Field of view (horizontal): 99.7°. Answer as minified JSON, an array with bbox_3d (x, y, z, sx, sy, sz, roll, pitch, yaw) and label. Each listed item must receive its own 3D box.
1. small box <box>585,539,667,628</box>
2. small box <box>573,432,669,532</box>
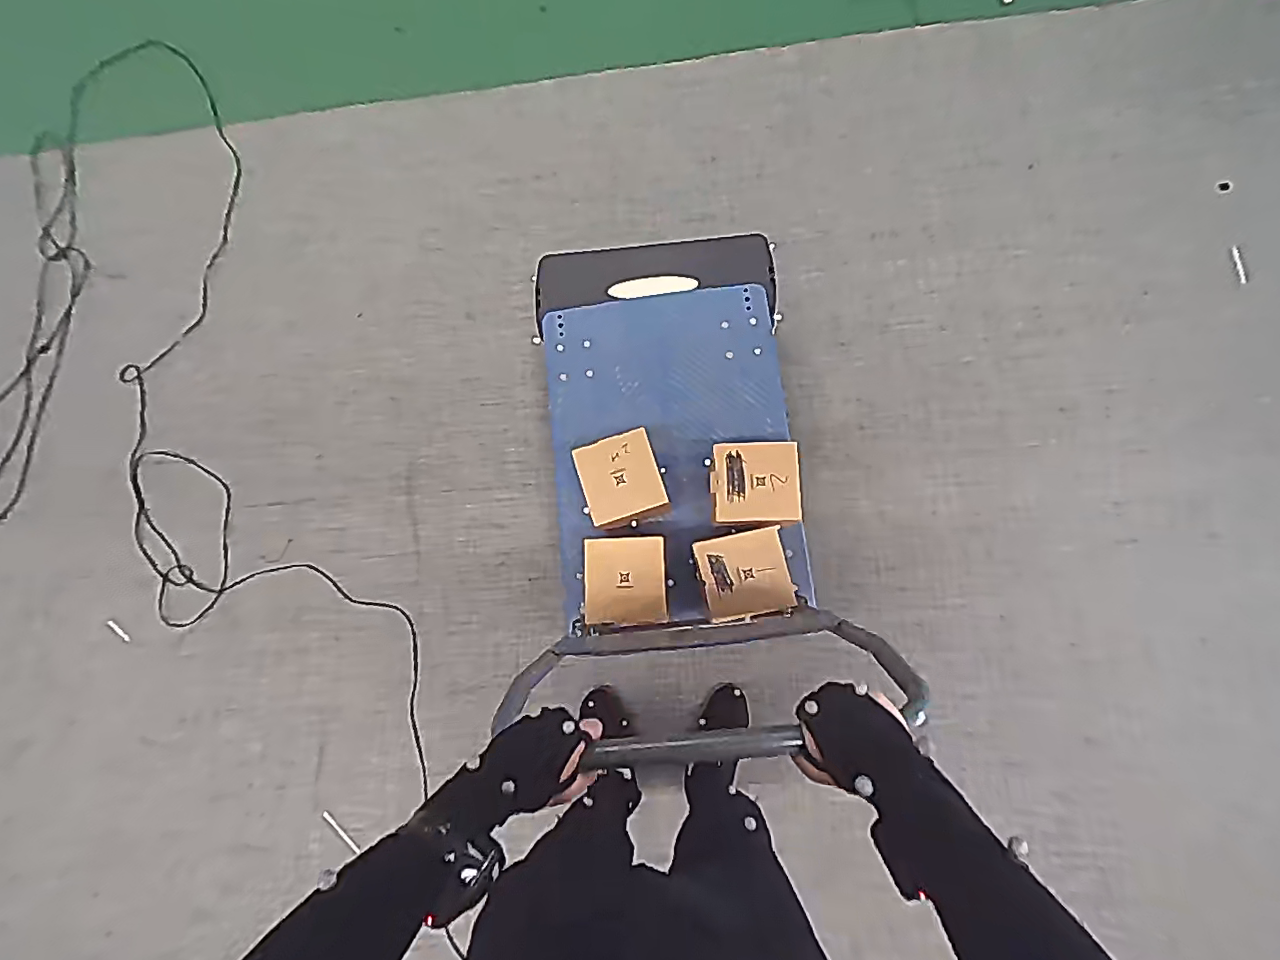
[{"bbox_3d":[-0.026,0.225,1.177,0.168,0.176,0.179,-2,80,3],"label":"small box"},{"bbox_3d":[-0.036,0.014,1.215,0.168,0.176,0.179,-18,78,0],"label":"small box"}]
